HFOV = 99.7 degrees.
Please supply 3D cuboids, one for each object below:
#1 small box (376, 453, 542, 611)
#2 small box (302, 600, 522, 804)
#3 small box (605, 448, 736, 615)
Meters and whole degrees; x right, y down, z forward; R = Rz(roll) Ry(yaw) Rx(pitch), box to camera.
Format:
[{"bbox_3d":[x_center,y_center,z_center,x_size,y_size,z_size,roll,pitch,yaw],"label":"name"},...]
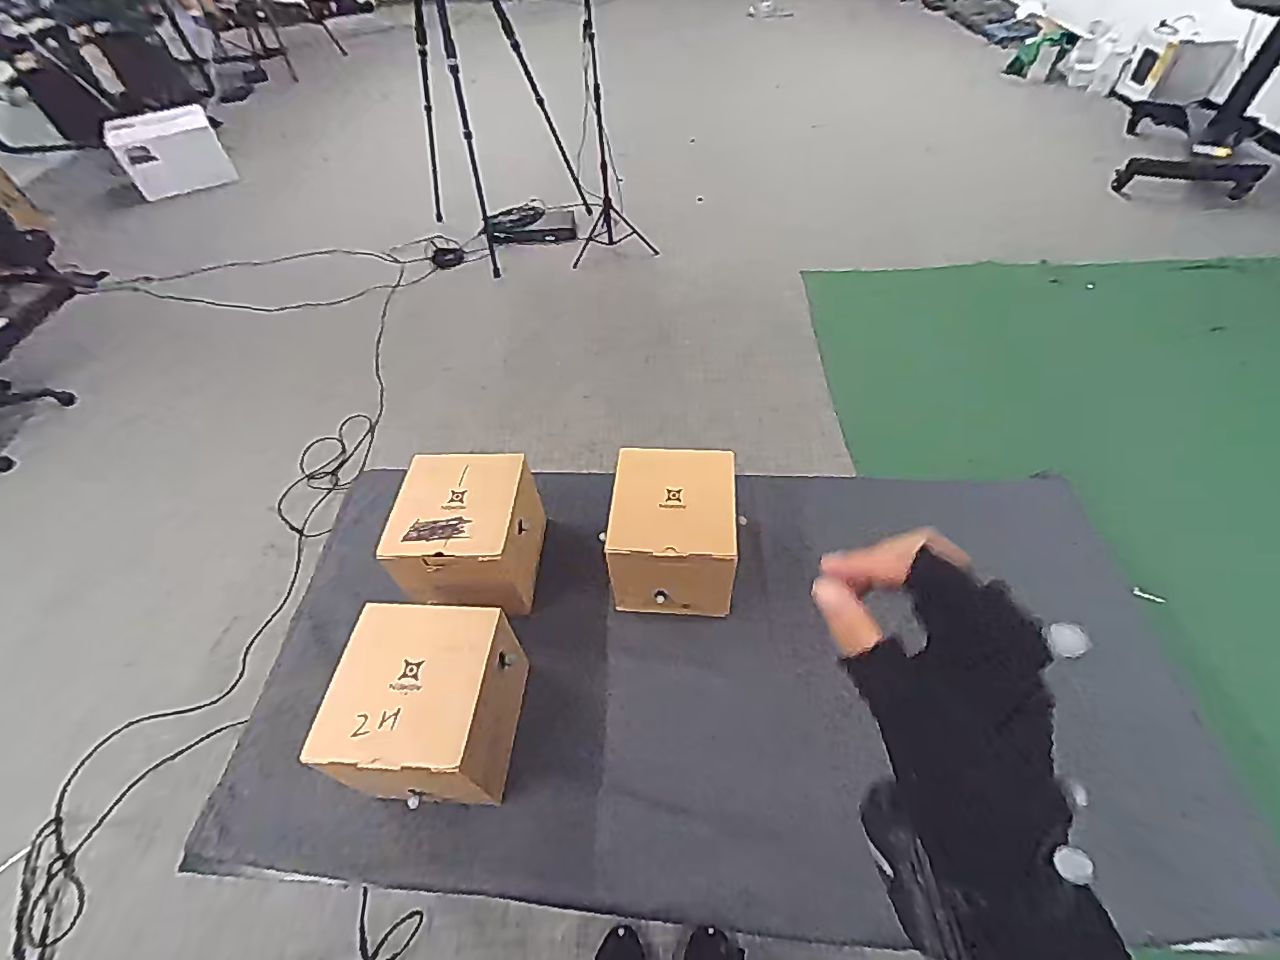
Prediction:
[{"bbox_3d":[-0.247,0.080,0.791,0.168,0.176,0.179,0,51,3],"label":"small box"},{"bbox_3d":[-0.246,0.264,0.642,0.168,0.176,0.179,2,50,4],"label":"small box"},{"bbox_3d":[0.046,0.075,0.784,0.168,0.176,0.179,2,52,5],"label":"small box"}]
